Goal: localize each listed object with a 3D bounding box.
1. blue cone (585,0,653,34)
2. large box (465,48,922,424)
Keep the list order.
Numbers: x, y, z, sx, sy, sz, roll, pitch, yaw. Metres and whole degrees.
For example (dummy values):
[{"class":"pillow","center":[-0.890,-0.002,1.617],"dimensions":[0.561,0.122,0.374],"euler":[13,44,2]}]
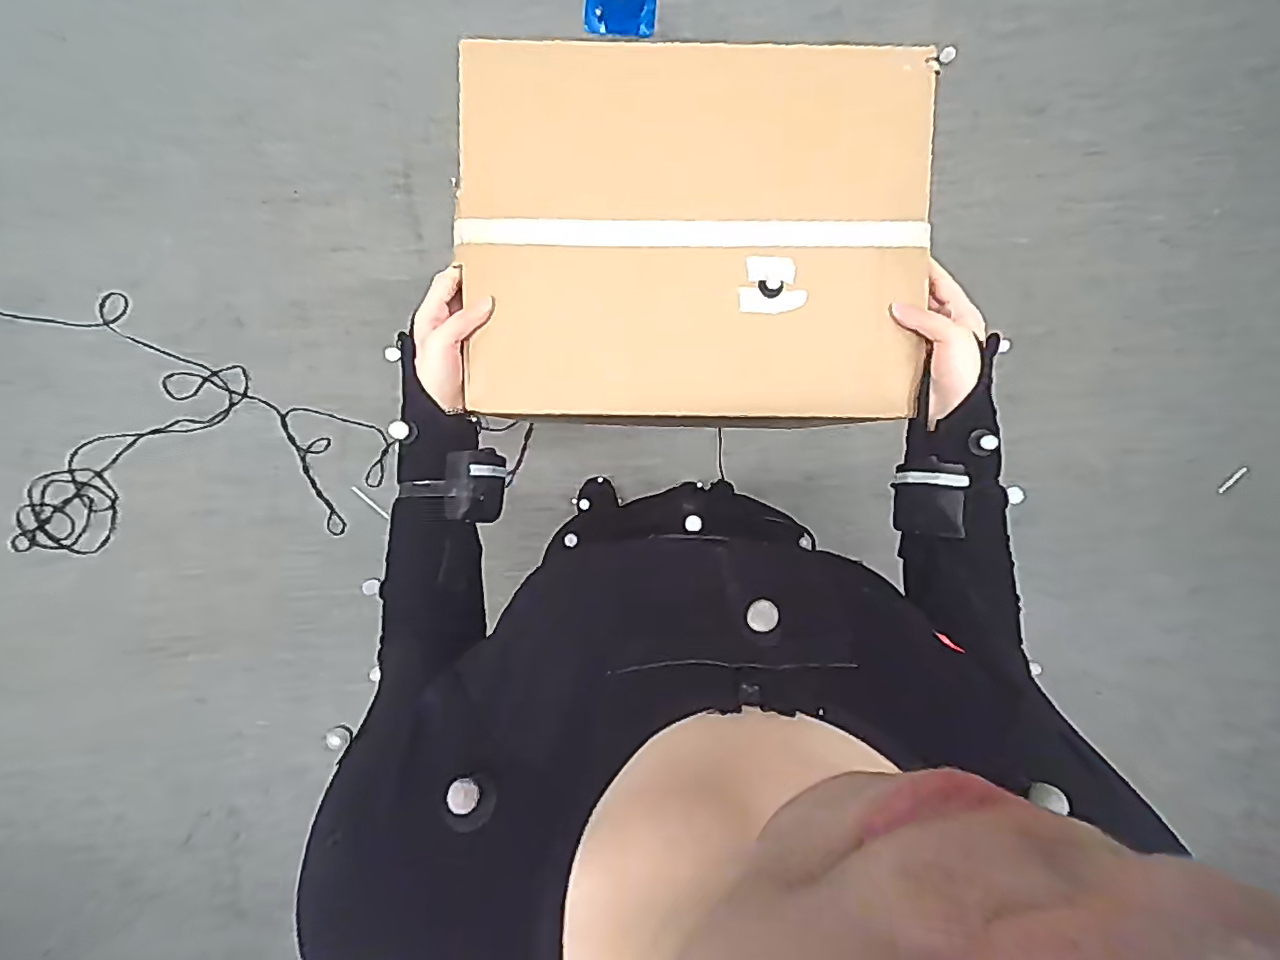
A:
[{"class":"blue cone","center":[-0.060,-1.367,1.370],"dimensions":[0.193,0.380,0.192],"euler":[5,89,1]},{"class":"large box","center":[0.044,-0.228,0.625],"dimensions":[0.408,0.320,0.320],"euler":[0,95,-1]}]
